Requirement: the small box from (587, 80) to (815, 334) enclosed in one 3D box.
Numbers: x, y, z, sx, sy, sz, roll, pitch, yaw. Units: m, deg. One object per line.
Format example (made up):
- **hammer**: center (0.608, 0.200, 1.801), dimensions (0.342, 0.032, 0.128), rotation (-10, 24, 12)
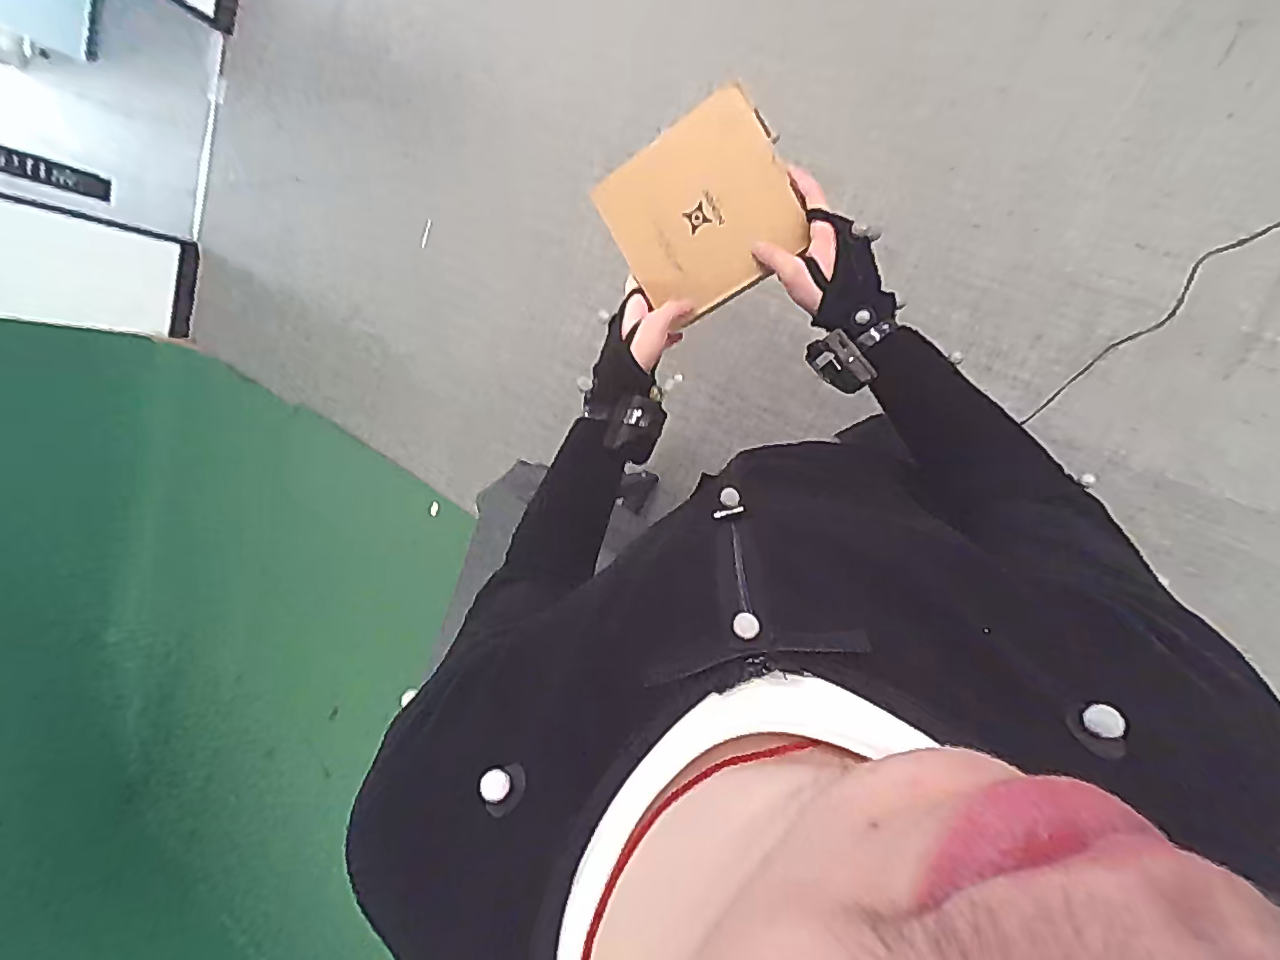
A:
- **small box**: center (0.075, -0.281, 0.600), dimensions (0.179, 0.176, 0.168), rotation (-26, 98, 21)
